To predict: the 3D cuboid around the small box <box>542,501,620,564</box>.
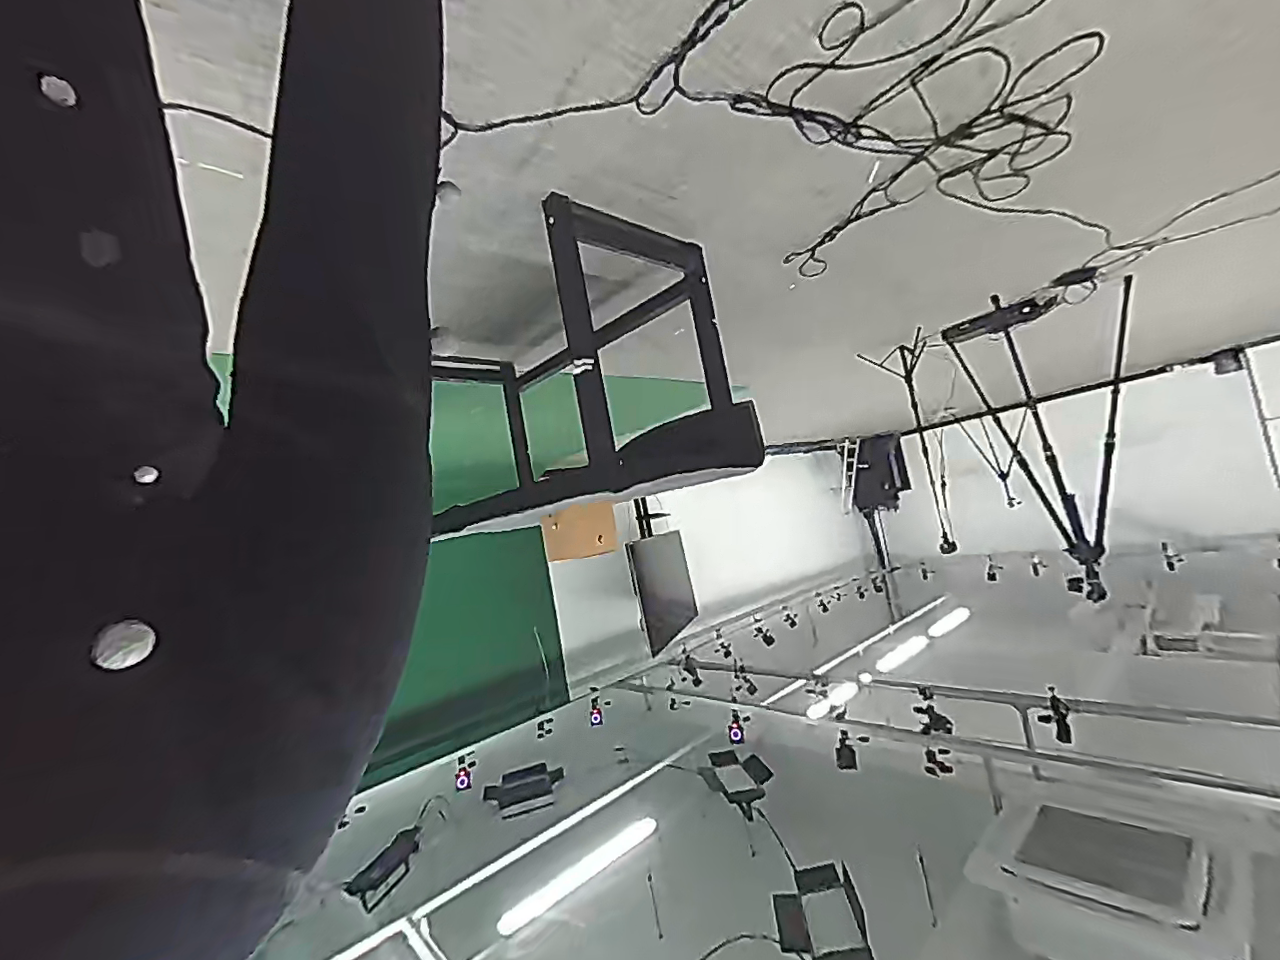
[{"bbox_3d":[-0.190,0.166,1.726,0.179,0.176,0.168,-6,173,-44],"label":"small box"}]
